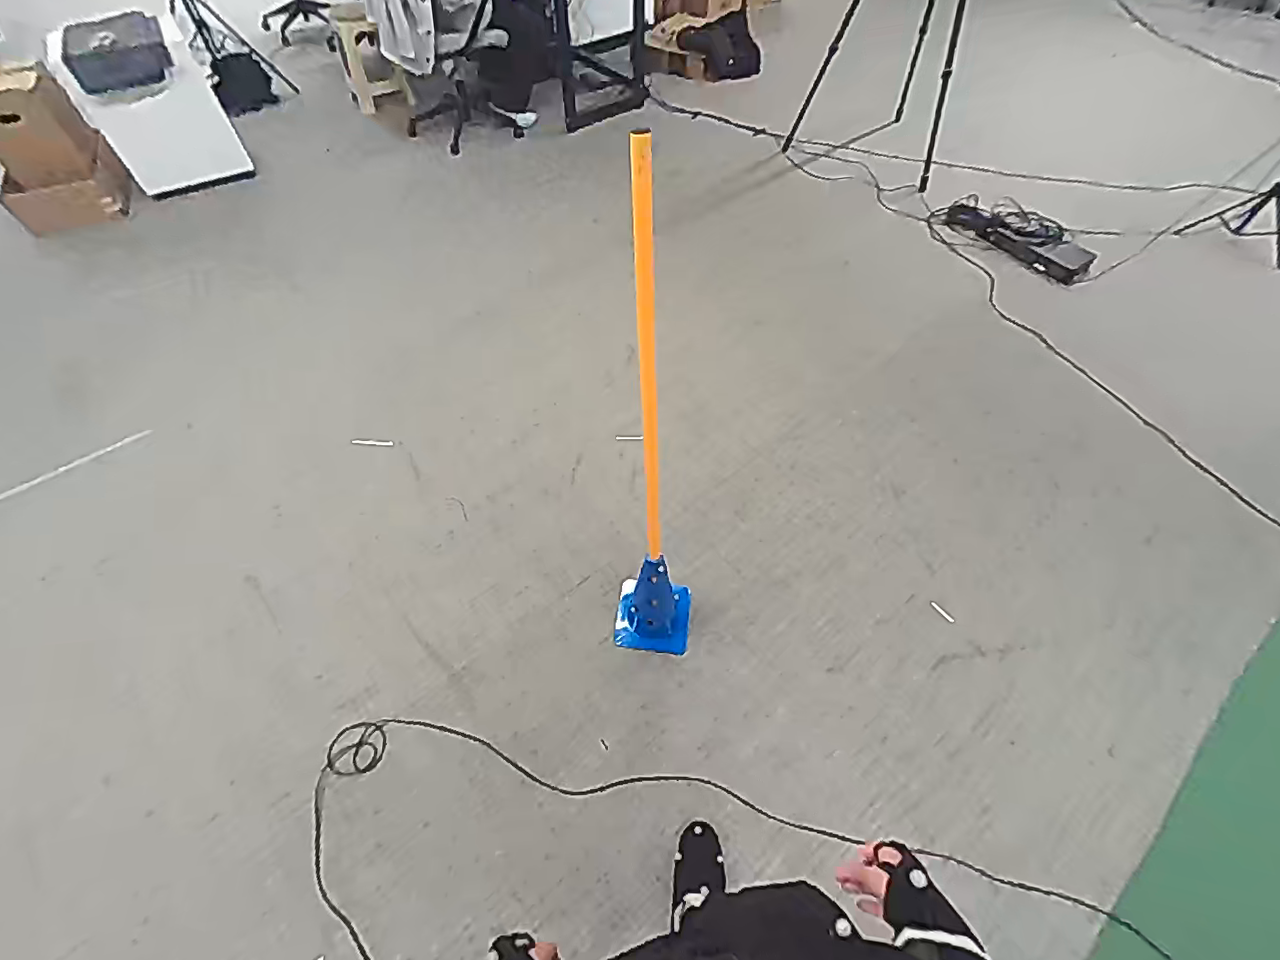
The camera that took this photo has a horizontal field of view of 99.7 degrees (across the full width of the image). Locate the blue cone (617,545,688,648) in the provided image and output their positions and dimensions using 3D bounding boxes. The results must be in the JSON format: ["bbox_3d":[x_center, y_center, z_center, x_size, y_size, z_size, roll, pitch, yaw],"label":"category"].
[{"bbox_3d":[0.034,0.269,1.359,0.192,0.380,0.193,5,54,4],"label":"blue cone"}]
